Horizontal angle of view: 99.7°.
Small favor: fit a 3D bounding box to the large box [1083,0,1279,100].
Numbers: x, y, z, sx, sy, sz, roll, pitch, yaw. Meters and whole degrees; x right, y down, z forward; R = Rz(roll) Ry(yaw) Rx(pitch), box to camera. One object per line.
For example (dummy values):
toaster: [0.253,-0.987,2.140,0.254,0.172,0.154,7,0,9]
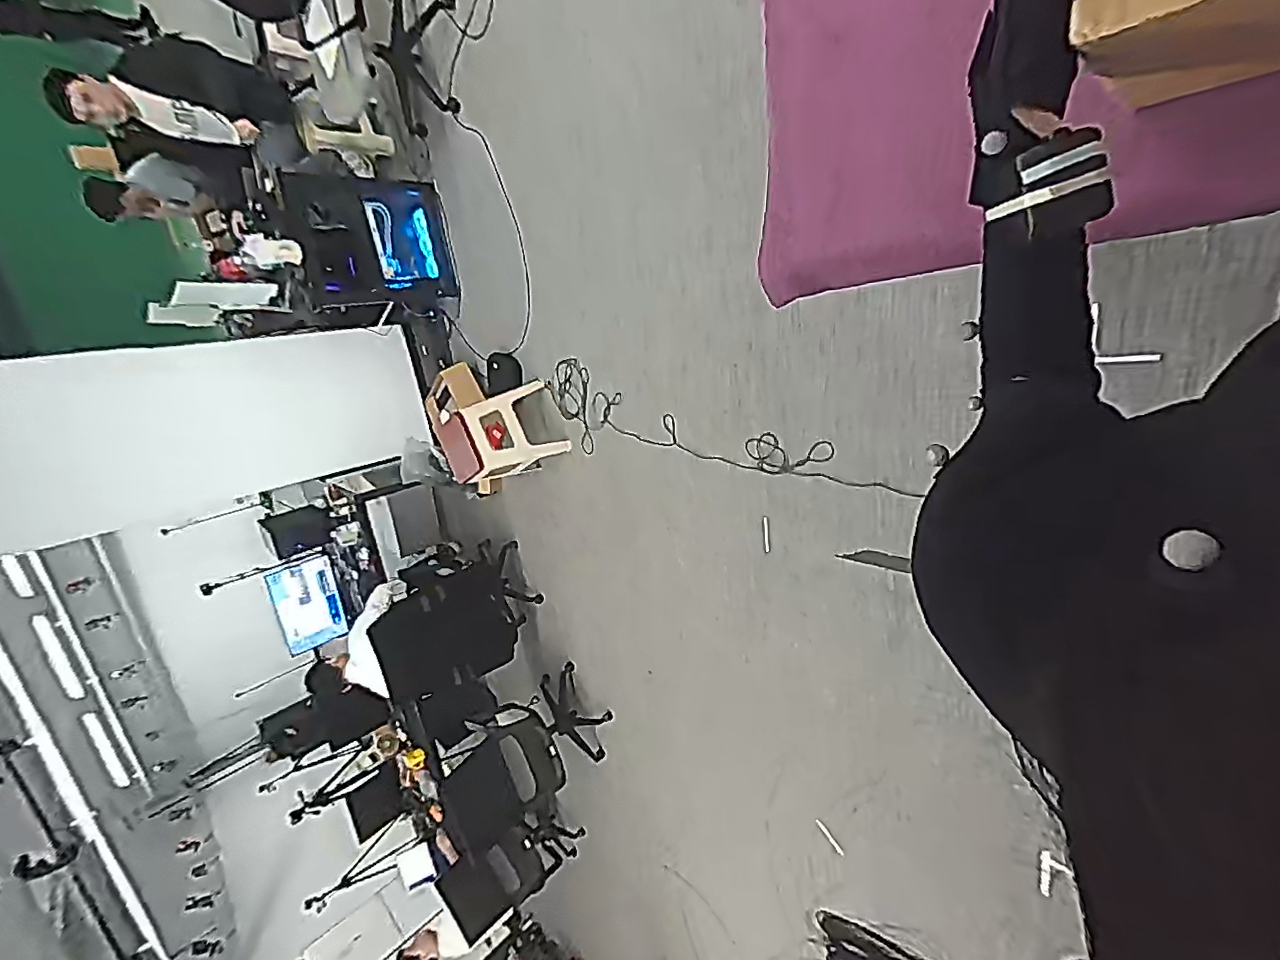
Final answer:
large box: [0.496,-0.458,0.263,0.408,0.320,0.320,7,114,45]
